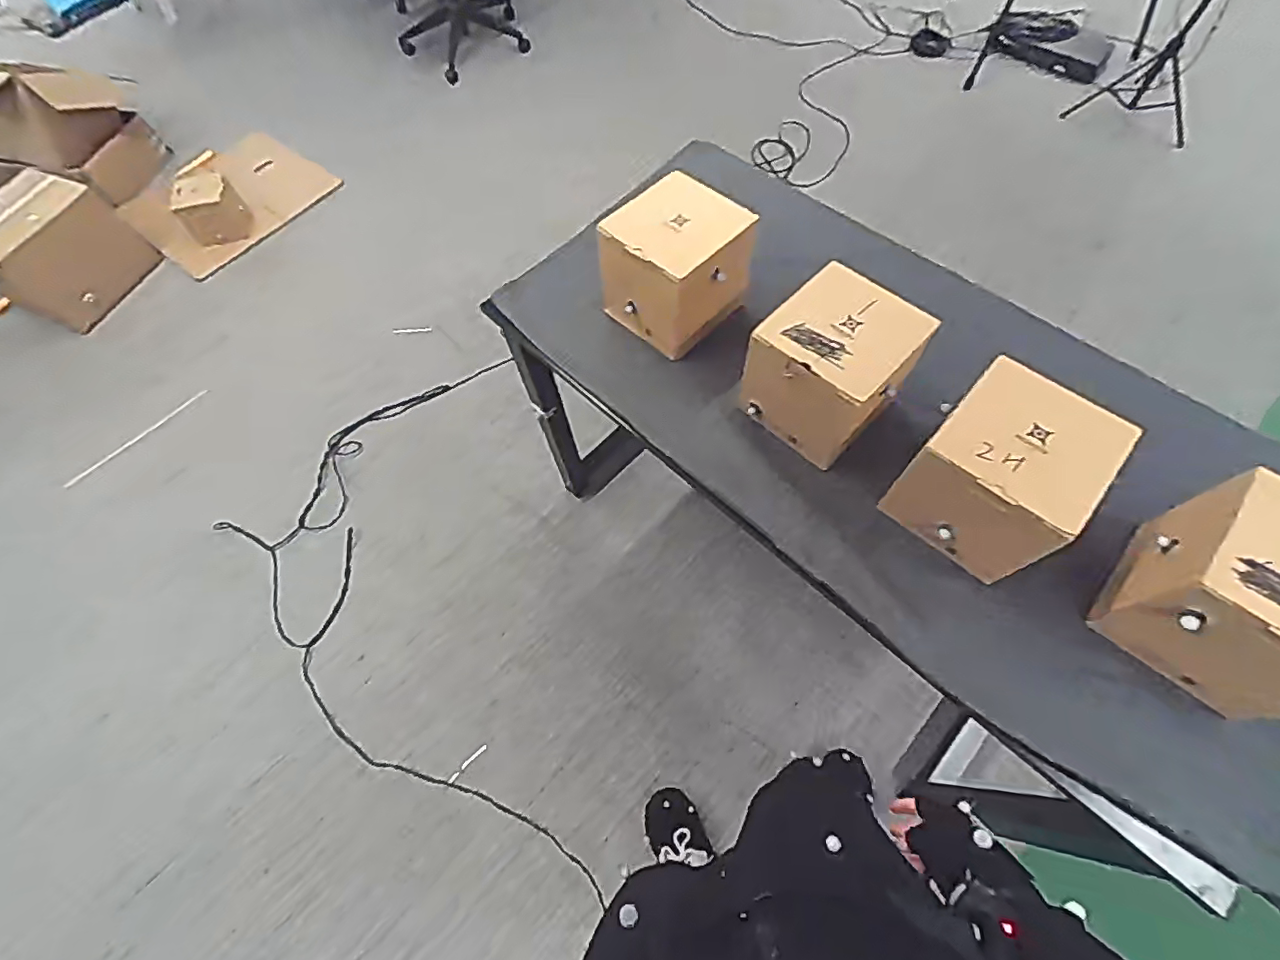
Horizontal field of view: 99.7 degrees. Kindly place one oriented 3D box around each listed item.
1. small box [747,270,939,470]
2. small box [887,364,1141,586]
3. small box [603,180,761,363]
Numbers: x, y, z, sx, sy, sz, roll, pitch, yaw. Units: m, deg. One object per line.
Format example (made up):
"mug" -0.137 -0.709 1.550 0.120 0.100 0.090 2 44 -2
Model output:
"small box" 0.265 -0.145 0.752 0.168 0.176 0.179 41 71 20
"small box" 0.441 -0.001 0.669 0.168 0.176 0.179 39 71 20
"small box" 0.061 -0.323 0.852 0.168 0.176 0.179 40 70 19
